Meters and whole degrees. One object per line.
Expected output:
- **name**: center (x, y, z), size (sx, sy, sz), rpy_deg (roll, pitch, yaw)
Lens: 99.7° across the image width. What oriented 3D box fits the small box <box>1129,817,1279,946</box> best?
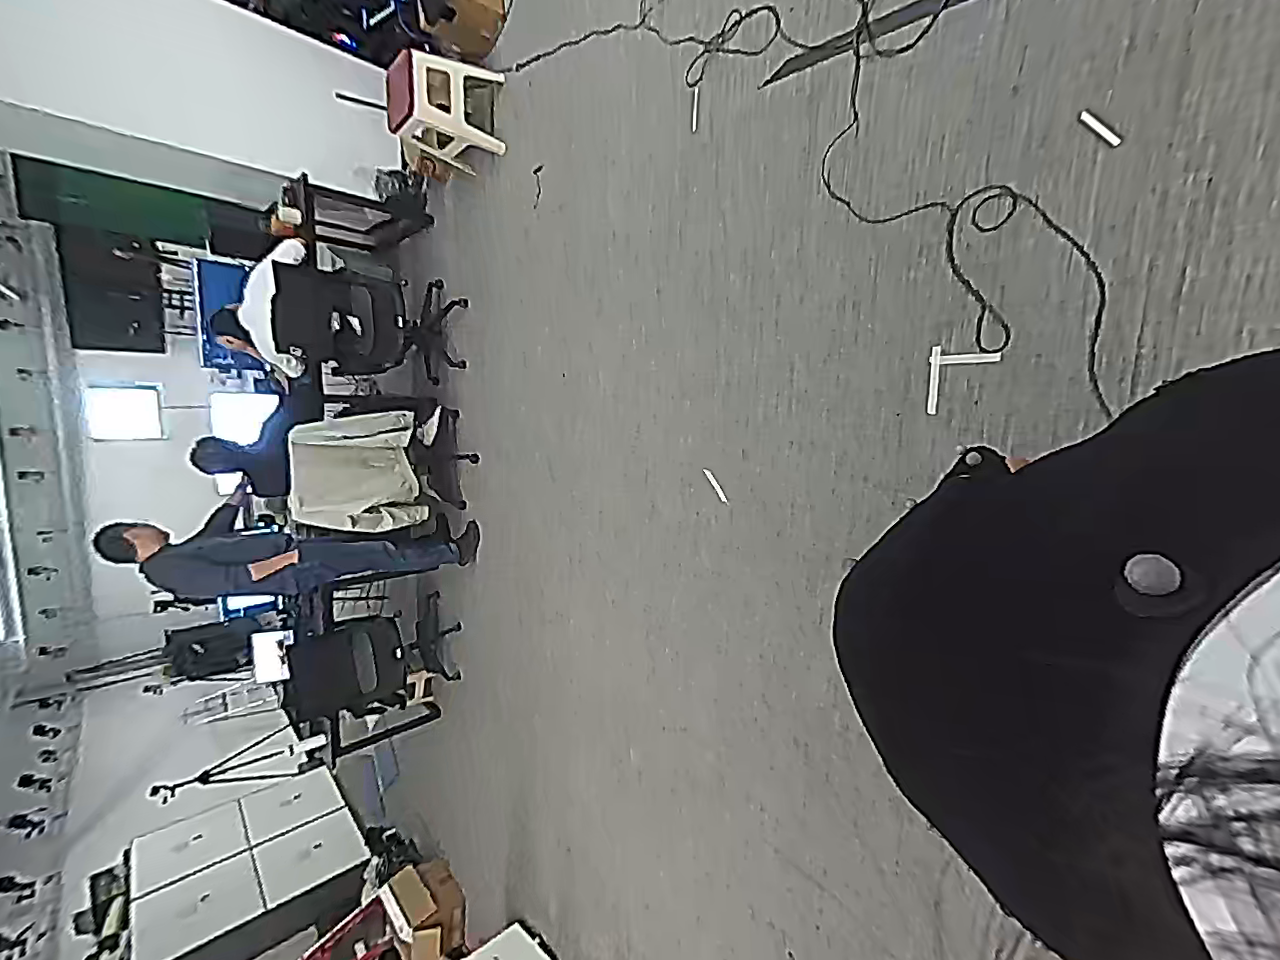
- **small box**: center (0.739, 0.591, 0.696), size (0.168, 0.176, 0.179), rpy_deg (9, 100, 45)
